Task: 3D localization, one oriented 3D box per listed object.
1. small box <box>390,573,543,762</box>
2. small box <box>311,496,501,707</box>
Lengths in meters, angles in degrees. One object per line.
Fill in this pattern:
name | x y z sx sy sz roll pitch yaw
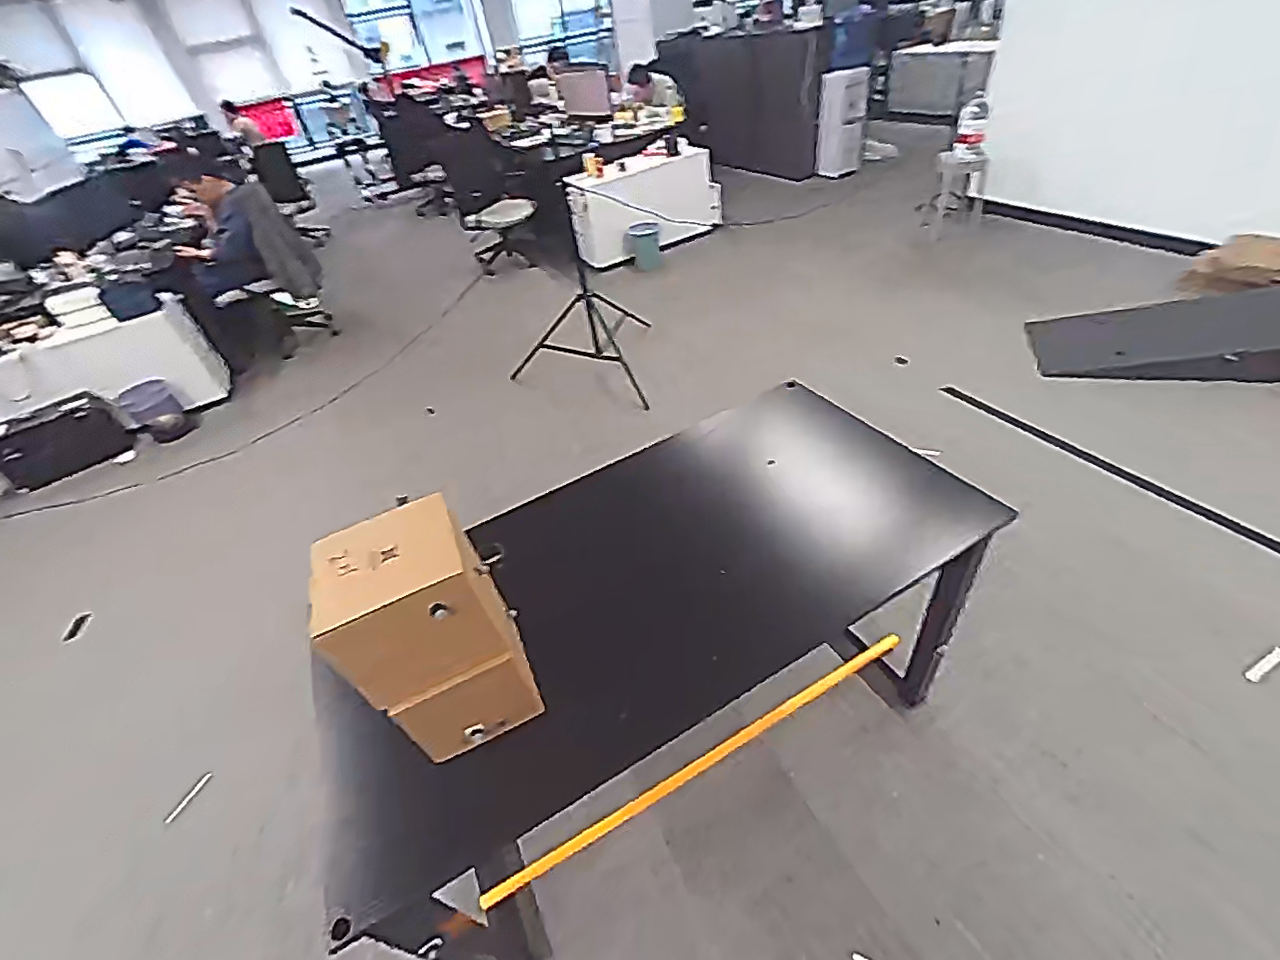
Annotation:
small box | -0.264 0.281 0.814 0.168 0.176 0.179 -24 44 -13
small box | -0.297 0.157 0.709 0.179 0.176 0.168 -24 42 -13
